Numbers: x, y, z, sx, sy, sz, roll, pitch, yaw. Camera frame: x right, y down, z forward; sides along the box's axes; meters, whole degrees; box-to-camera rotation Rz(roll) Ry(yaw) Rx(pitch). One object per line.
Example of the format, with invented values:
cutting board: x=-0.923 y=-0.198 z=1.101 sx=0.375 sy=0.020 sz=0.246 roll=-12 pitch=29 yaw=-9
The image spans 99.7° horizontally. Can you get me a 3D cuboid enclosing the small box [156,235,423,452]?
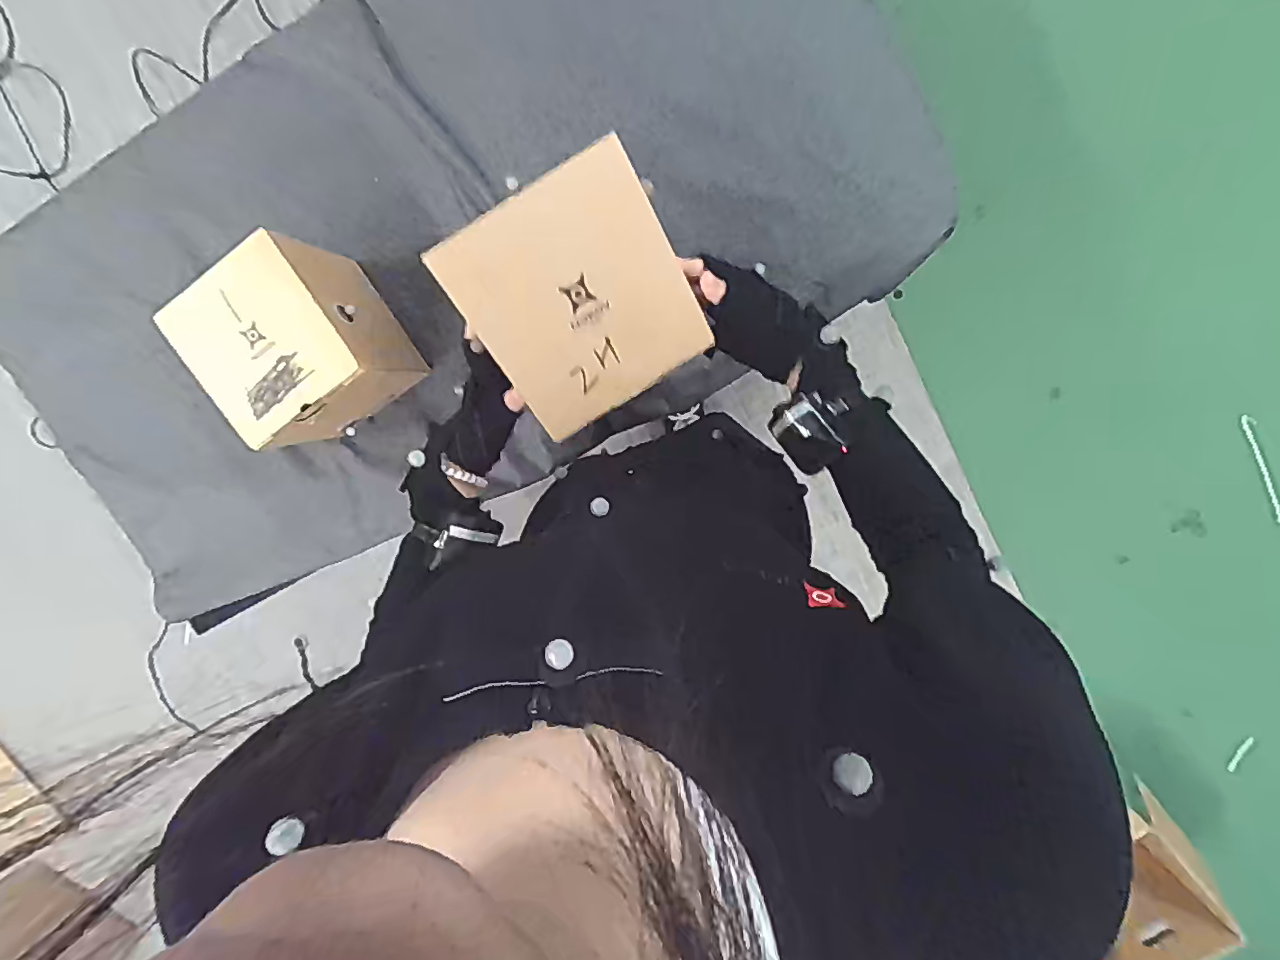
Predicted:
small box: x=-0.404 y=-0.157 z=0.659 sx=0.168 sy=0.176 sz=0.179 roll=-33 pitch=96 yaw=8

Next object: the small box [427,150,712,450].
small box: x=-0.065 y=-0.162 z=0.494 sx=0.168 sy=0.176 sz=0.179 roll=-32 pitch=119 yaw=3
